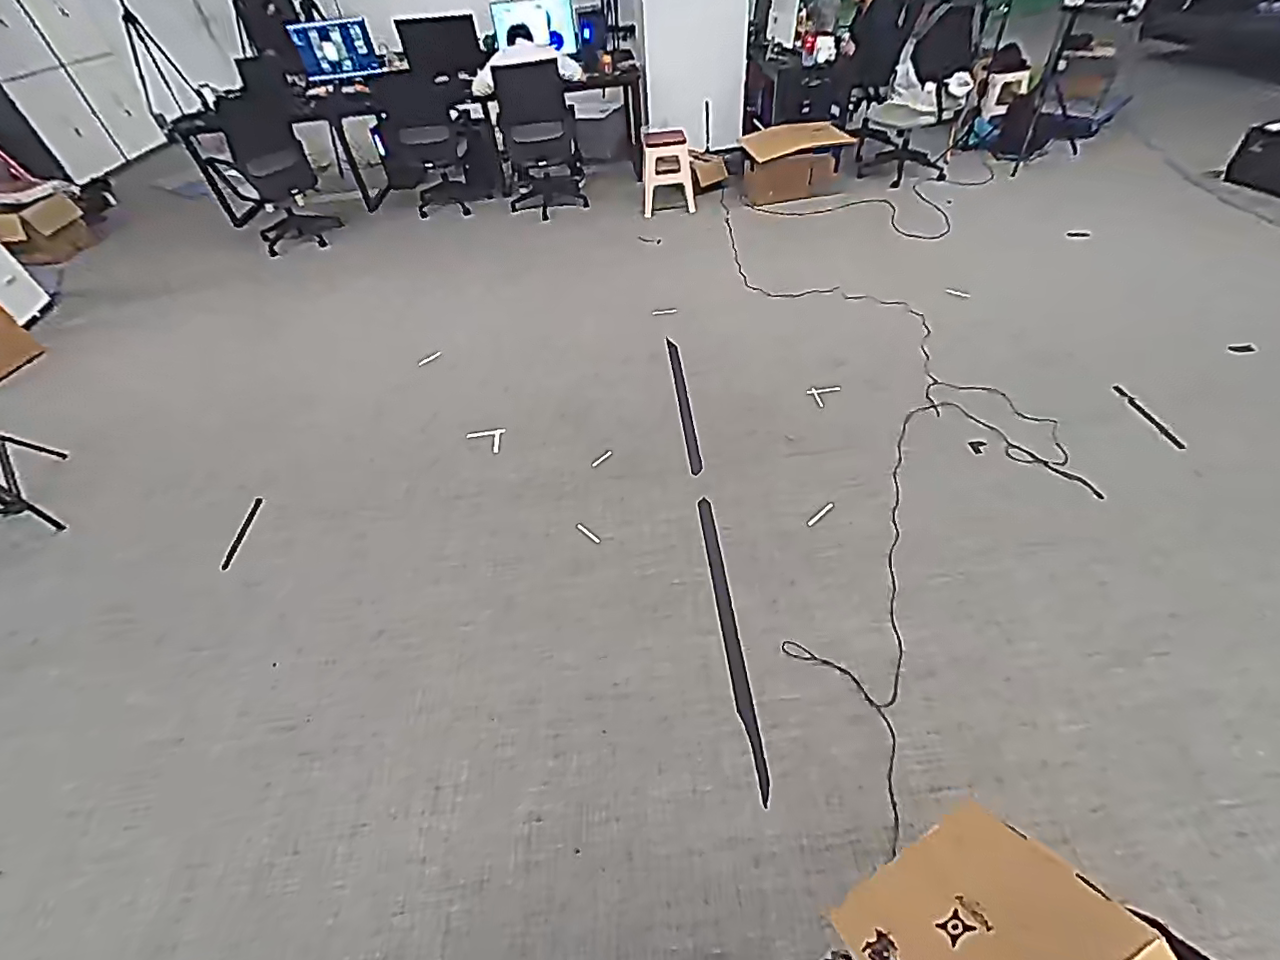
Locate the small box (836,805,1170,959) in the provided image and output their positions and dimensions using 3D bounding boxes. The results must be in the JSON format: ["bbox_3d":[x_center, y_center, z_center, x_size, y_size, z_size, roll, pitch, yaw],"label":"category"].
[{"bbox_3d":[0.300,0.418,0.429,0.179,0.168,0.176,-30,89,-7],"label":"small box"}]
